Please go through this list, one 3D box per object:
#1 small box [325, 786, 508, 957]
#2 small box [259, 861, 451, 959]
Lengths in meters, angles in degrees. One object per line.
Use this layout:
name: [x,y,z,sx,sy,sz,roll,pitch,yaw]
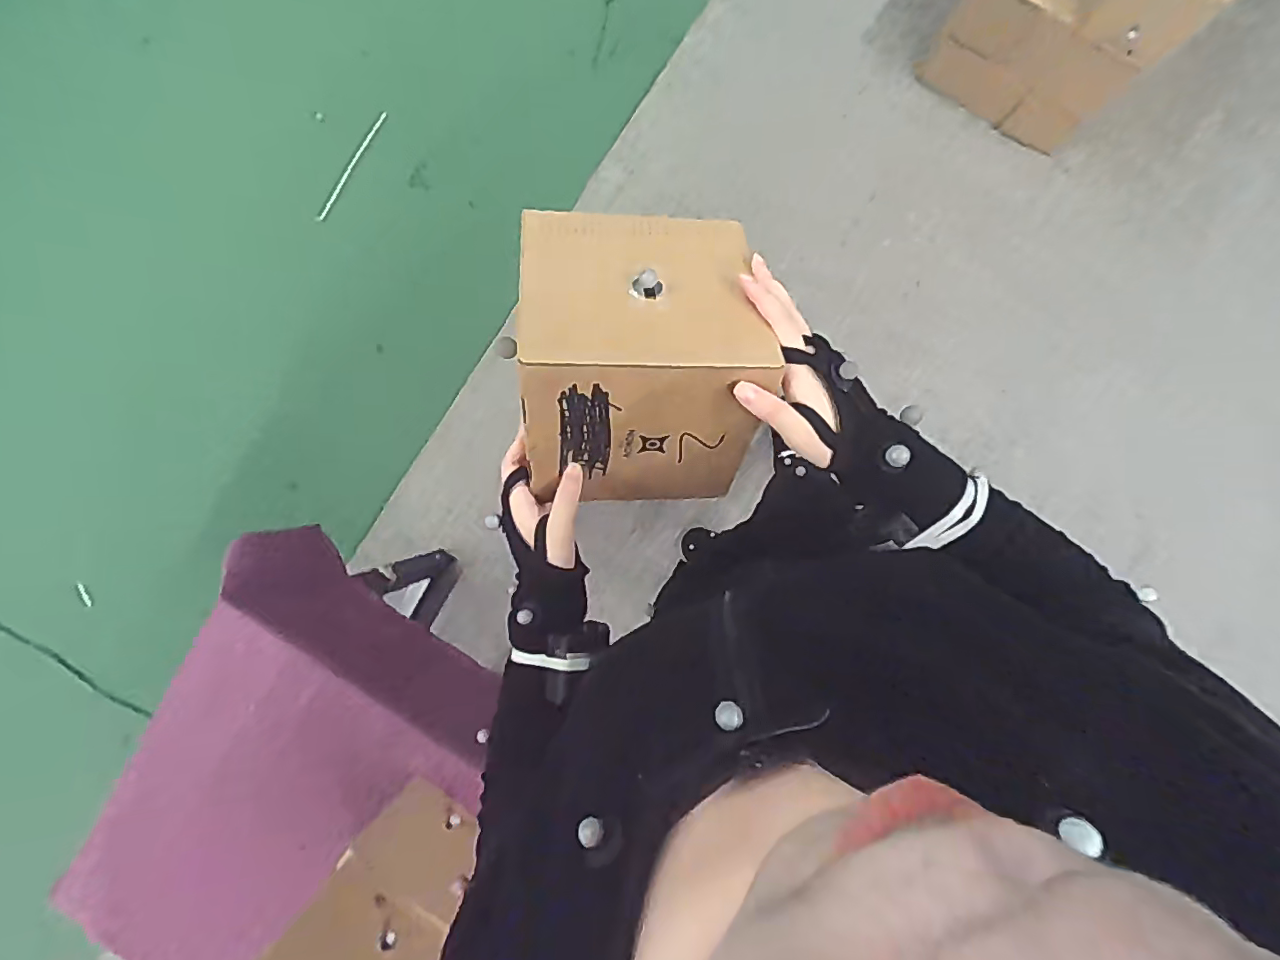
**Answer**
small box: [-0.315,0.561,0.741,0.179,0.176,0.168,33,94,5]
small box: [-0.337,0.574,0.579,0.168,0.176,0.179,34,93,4]
